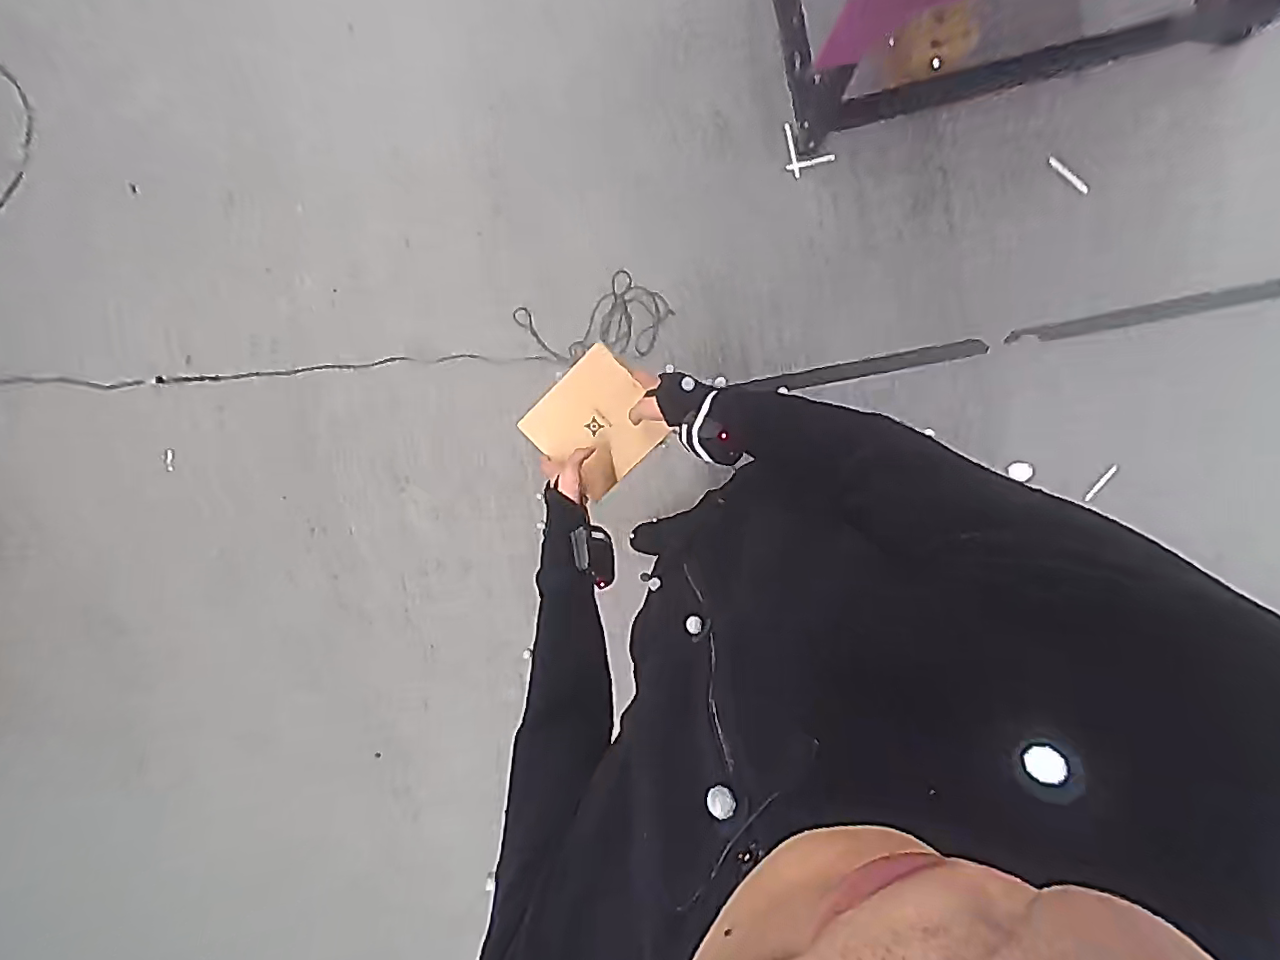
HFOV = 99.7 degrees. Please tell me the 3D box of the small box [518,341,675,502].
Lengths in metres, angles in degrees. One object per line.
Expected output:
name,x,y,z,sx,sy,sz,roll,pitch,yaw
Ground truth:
small box,-0.056,-0.093,0.856,0.179,0.176,0.168,-43,94,9
